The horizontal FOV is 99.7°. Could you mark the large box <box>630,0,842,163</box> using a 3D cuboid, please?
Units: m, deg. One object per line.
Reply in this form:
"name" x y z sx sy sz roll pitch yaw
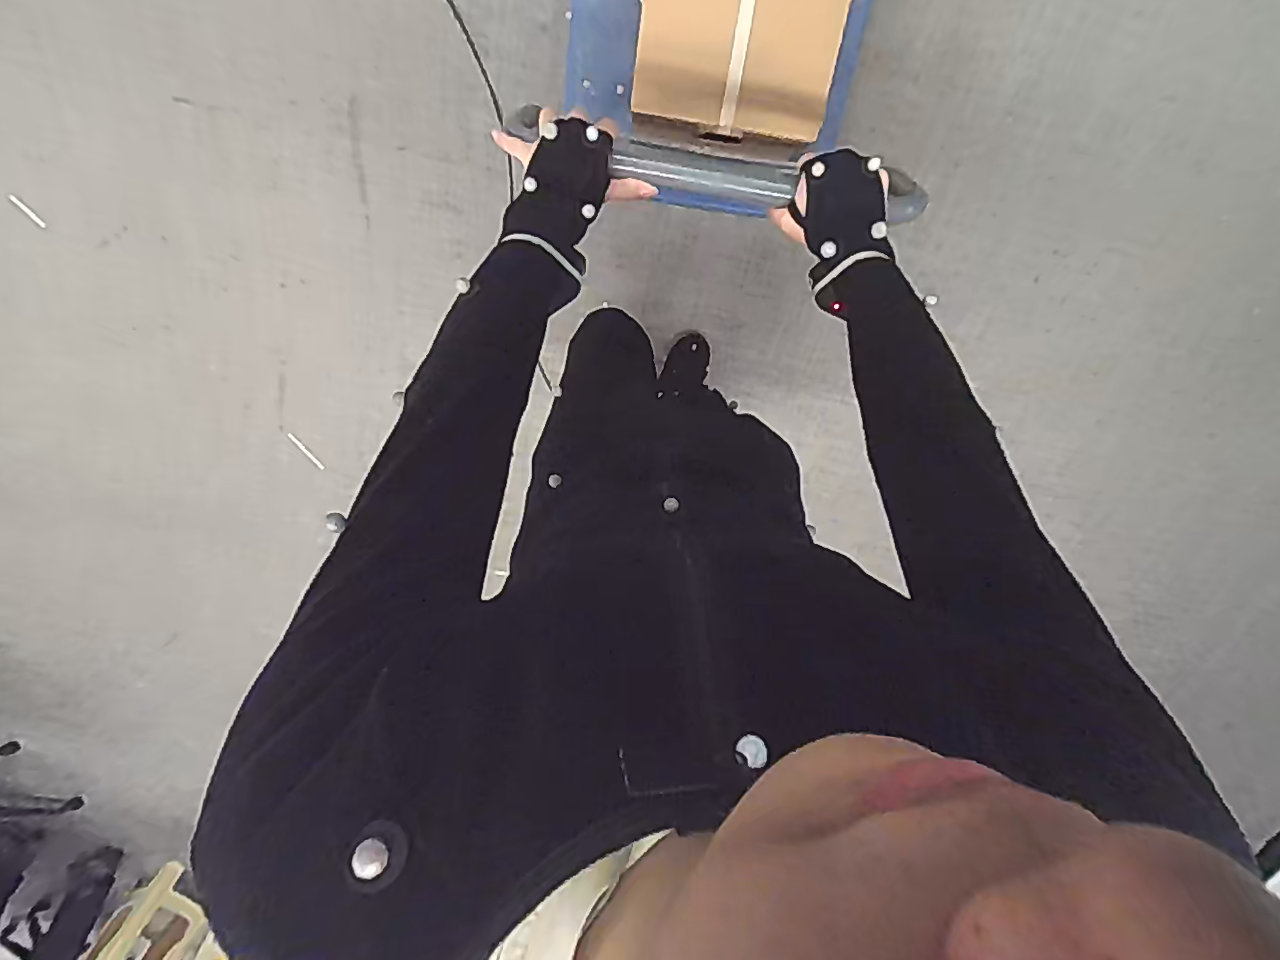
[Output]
"large box" 0.163 -0.824 0.953 0.320 0.320 0.408 8 112 -2
